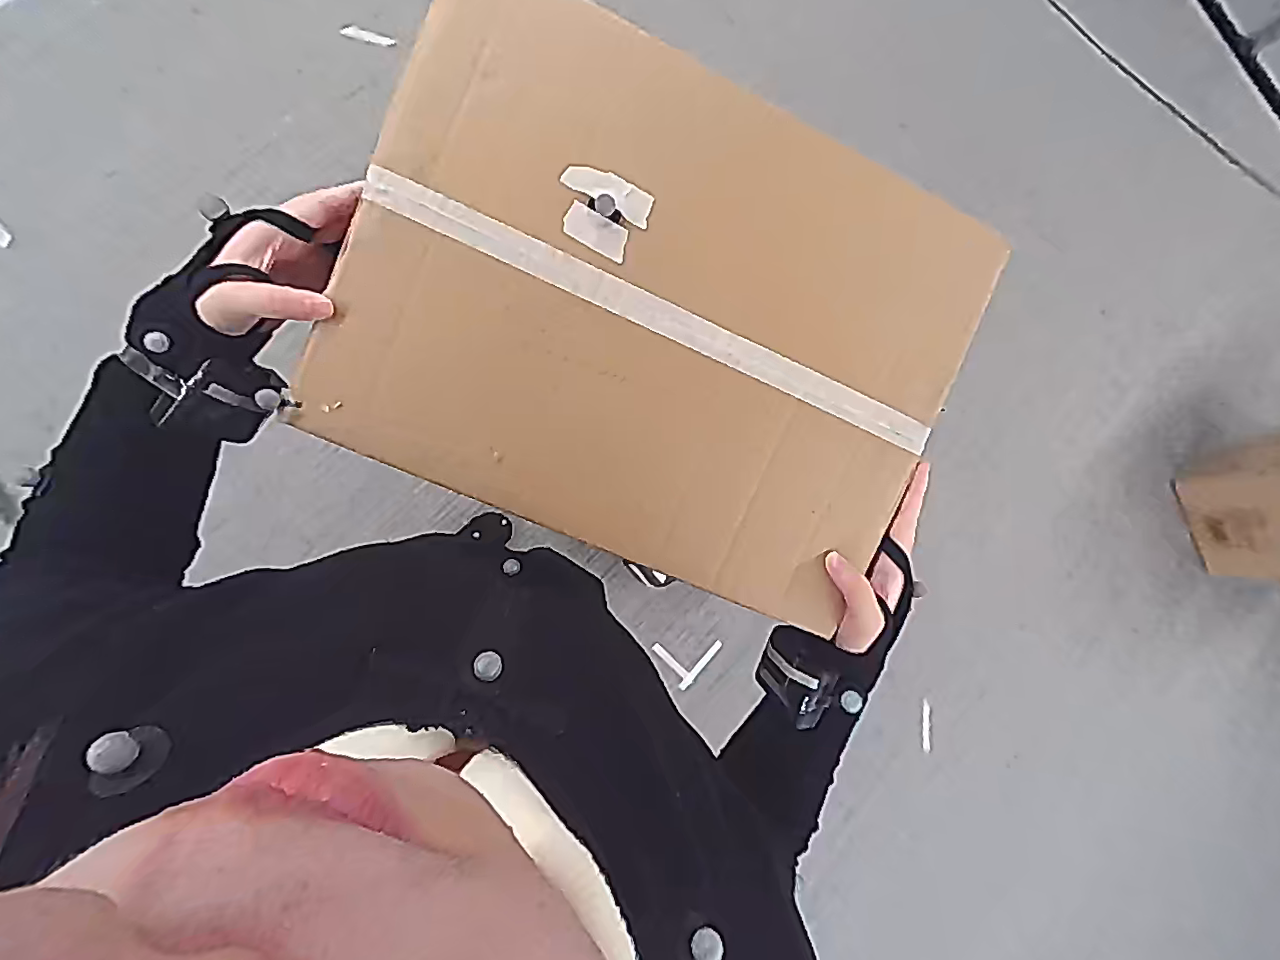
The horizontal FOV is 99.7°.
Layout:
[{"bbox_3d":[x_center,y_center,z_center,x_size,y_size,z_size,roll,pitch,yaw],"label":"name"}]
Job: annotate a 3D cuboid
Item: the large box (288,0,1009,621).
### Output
[{"bbox_3d":[0.002,-0.123,0.500,0.408,0.320,0.320,22,94,-8],"label":"large box"}]
